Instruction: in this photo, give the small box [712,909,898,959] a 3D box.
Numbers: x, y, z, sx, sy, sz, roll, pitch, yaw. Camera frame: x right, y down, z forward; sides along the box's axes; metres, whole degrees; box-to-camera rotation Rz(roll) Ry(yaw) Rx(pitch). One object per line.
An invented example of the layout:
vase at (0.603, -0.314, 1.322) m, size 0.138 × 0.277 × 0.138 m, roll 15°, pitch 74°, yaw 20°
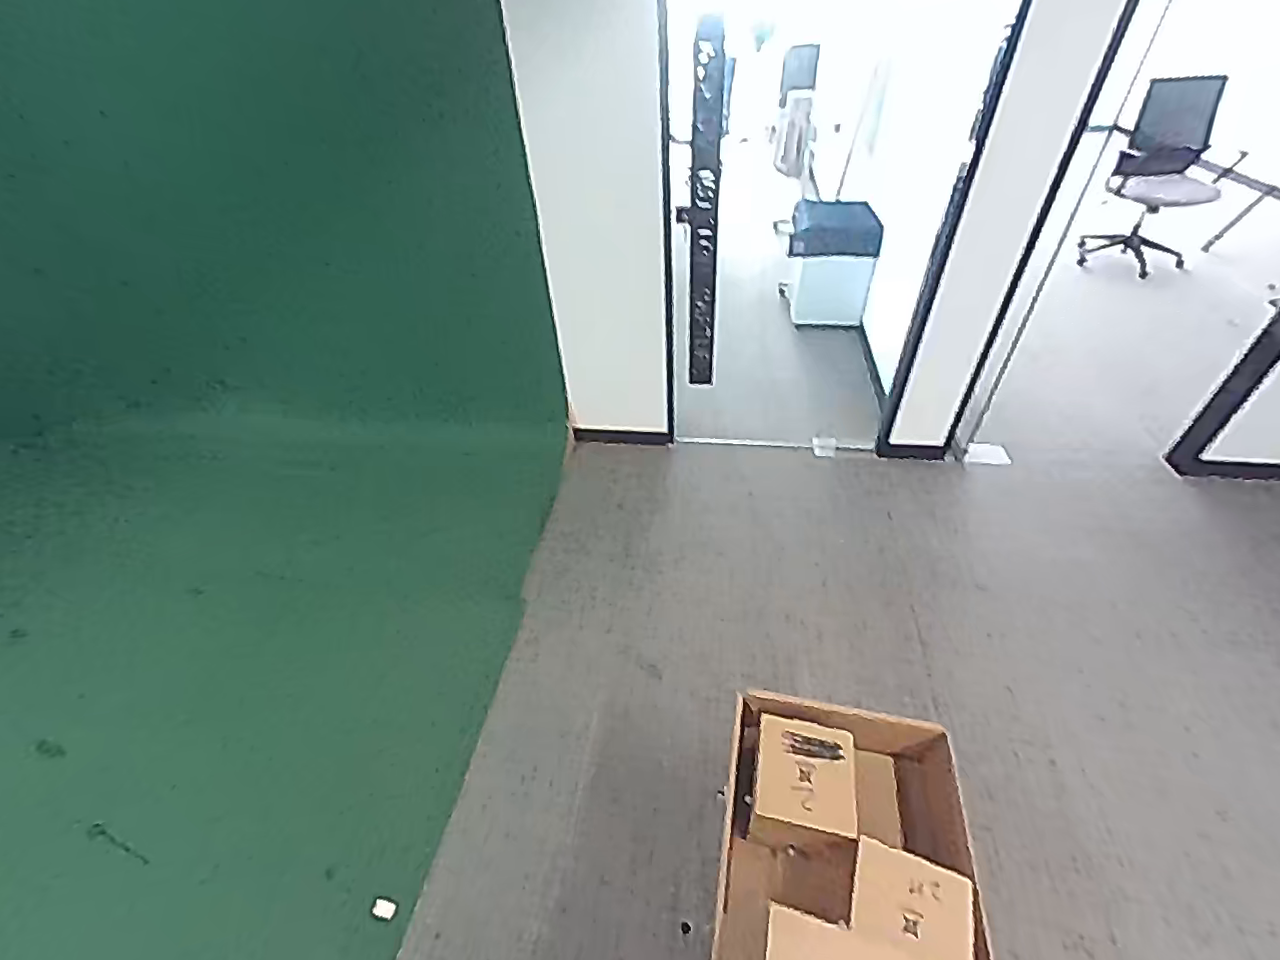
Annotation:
small box at (0.172, 0.573, 0.552) m, size 0.179 × 0.176 × 0.168 m, roll 19°, pitch 46°, yaw 3°
